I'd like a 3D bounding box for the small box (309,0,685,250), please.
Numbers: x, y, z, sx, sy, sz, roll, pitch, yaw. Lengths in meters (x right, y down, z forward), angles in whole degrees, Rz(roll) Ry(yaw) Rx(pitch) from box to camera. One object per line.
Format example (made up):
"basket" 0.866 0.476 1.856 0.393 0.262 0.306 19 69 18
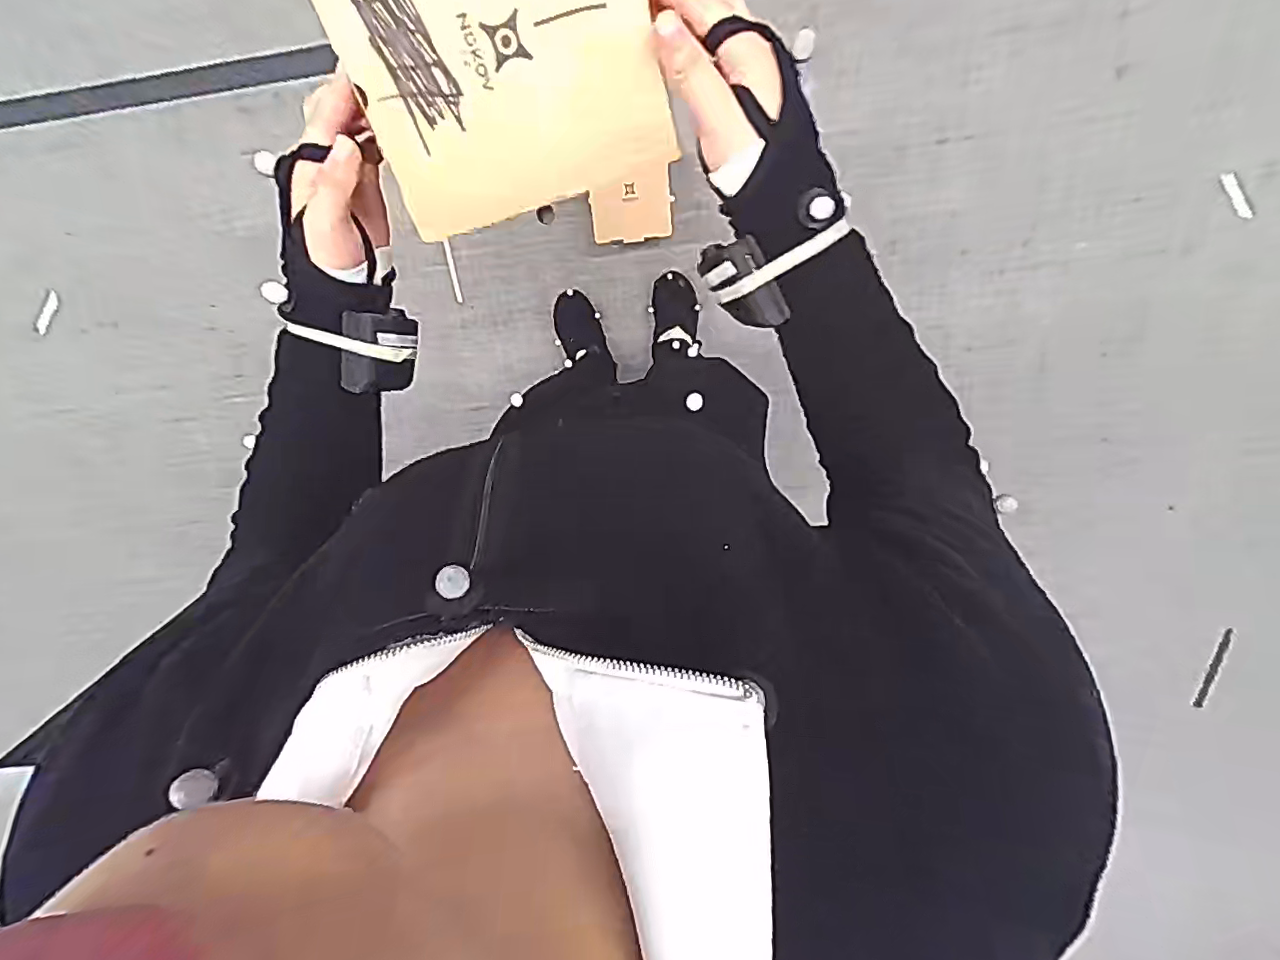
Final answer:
"small box" -0.074 -0.275 0.358 0.179 0.176 0.168 -13 124 10

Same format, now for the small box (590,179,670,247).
"small box" -0.019 -0.616 1.177 0.168 0.176 0.179 -4 117 3
